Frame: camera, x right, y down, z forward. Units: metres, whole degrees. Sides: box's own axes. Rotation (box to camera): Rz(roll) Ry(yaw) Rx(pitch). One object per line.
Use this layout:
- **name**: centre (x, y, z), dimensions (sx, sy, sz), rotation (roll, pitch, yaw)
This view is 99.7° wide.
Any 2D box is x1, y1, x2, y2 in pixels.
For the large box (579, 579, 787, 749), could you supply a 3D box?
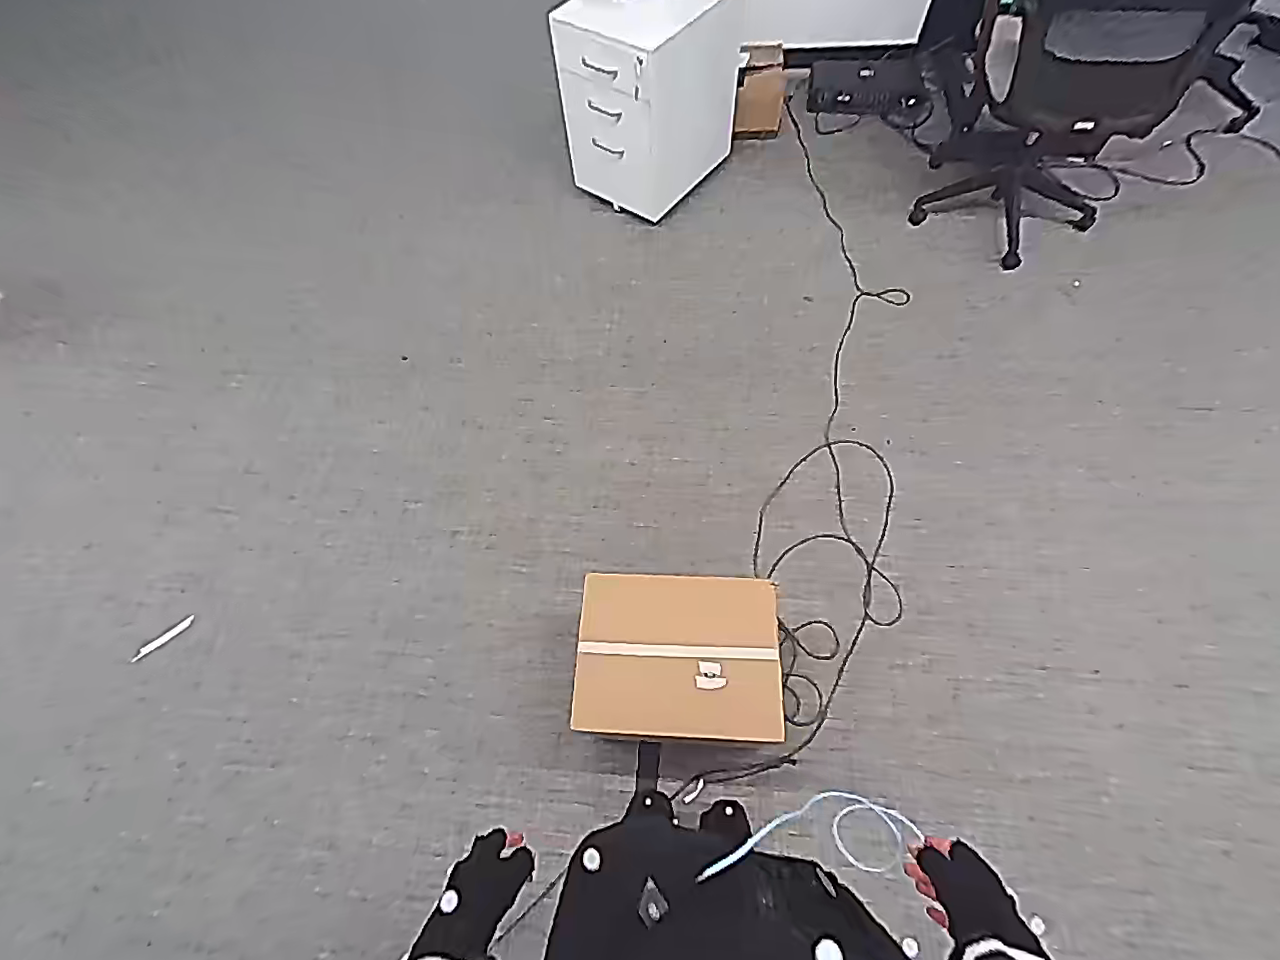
- **large box**: centre (0.092, 0.425, 1.223), dimensions (0.408, 0.320, 0.320), rotation (1, 62, 4)
